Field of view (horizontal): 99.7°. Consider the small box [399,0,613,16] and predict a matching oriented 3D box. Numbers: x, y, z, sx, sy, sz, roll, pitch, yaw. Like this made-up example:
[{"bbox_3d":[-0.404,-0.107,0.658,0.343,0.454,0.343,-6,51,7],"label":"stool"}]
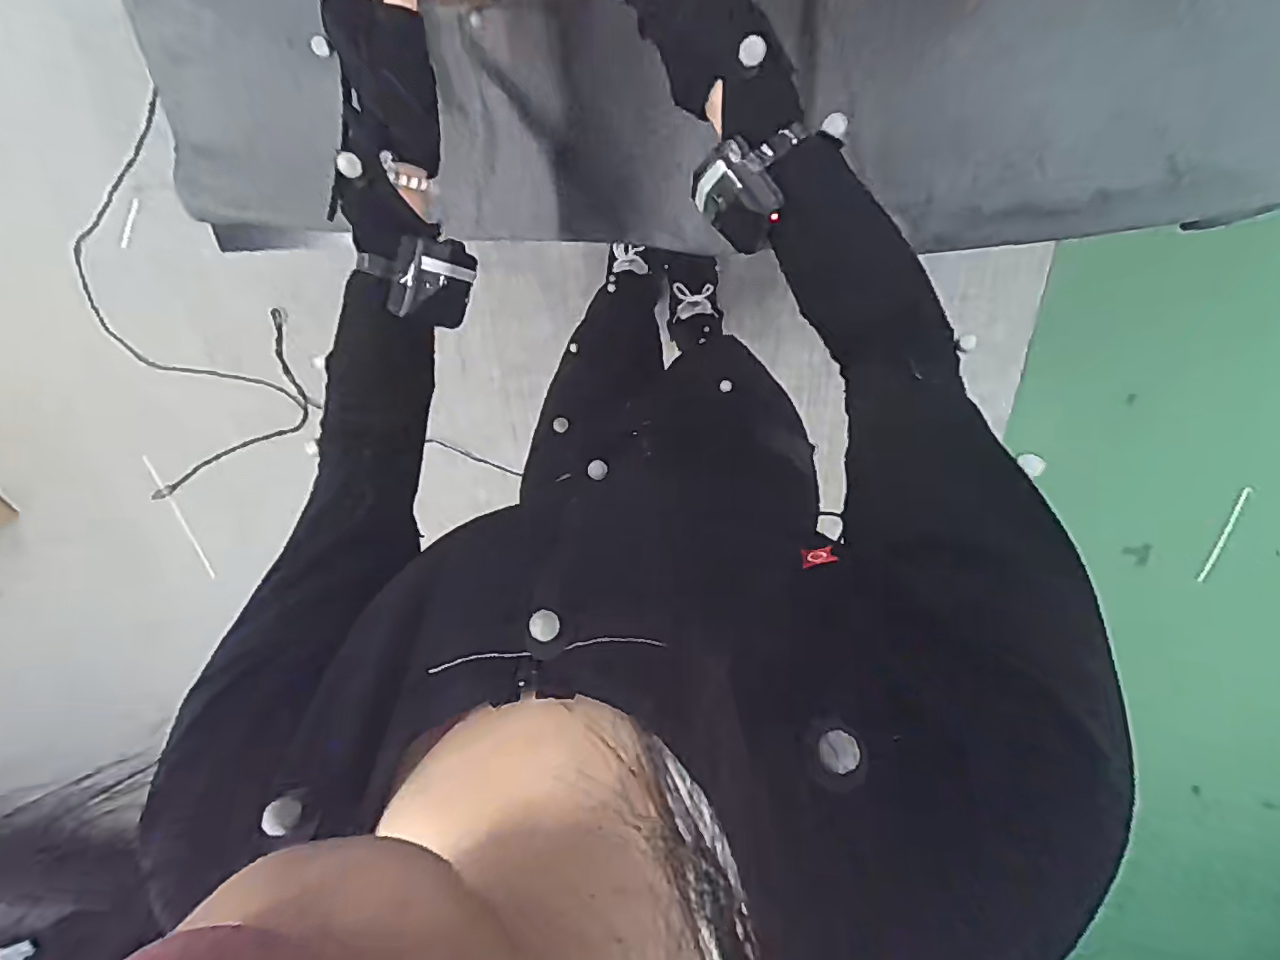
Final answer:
[{"bbox_3d":[-0.097,-0.444,0.372,0.168,0.176,0.179,-6,125,0],"label":"small box"}]
